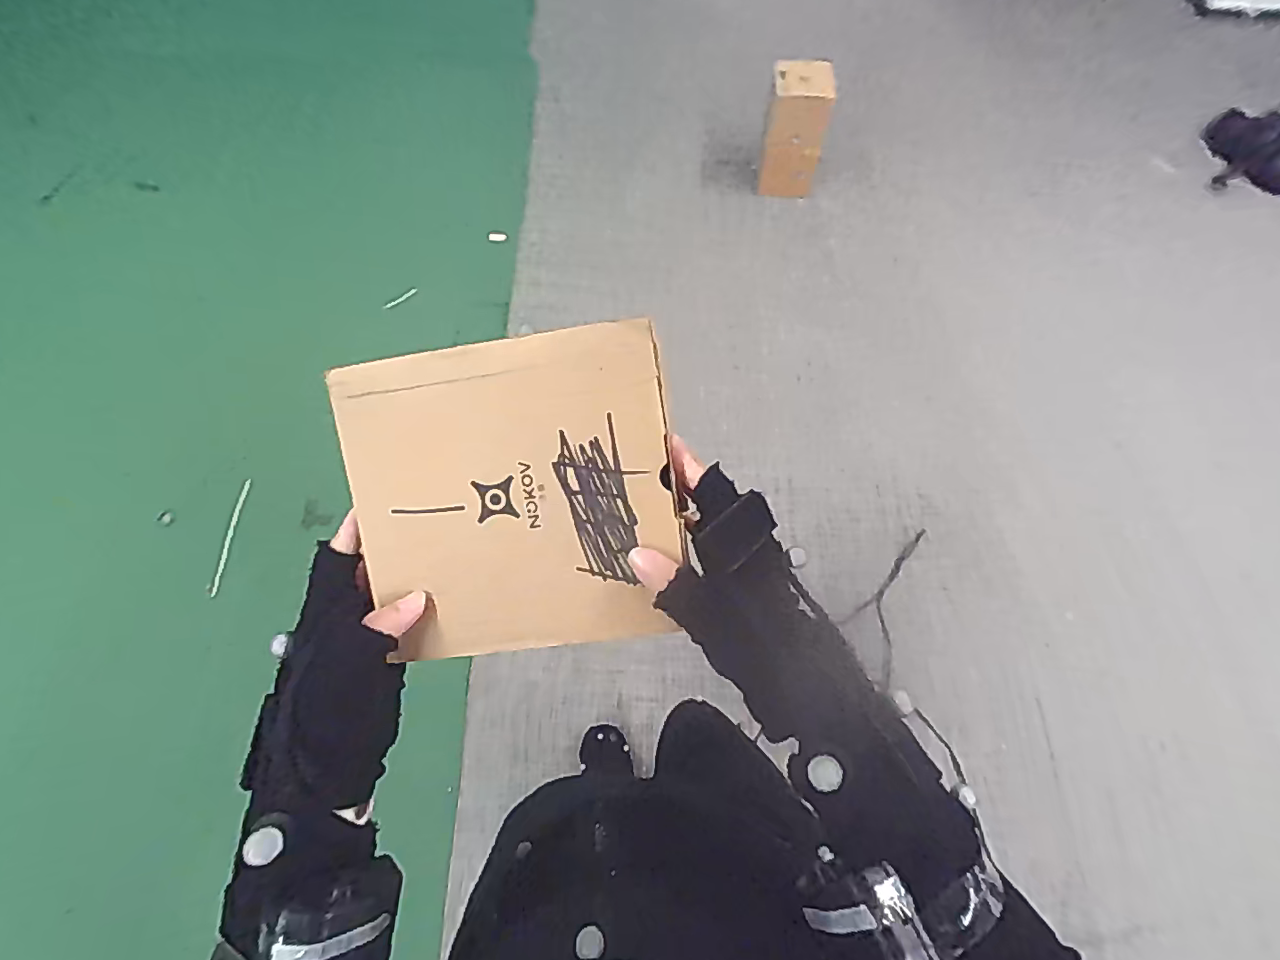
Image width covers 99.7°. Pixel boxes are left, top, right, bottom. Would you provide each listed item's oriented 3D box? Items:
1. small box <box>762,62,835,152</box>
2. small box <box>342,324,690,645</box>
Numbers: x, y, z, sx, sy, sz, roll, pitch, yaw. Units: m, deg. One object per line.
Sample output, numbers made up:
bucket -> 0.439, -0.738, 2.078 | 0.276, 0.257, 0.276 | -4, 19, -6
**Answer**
small box -> 0.487, -1.156, 1.682 | 0.179, 0.176, 0.168 | 4, 68, 1
small box -> -0.062, -0.003, 0.369 | 0.179, 0.176, 0.168 | -5, 95, 4
